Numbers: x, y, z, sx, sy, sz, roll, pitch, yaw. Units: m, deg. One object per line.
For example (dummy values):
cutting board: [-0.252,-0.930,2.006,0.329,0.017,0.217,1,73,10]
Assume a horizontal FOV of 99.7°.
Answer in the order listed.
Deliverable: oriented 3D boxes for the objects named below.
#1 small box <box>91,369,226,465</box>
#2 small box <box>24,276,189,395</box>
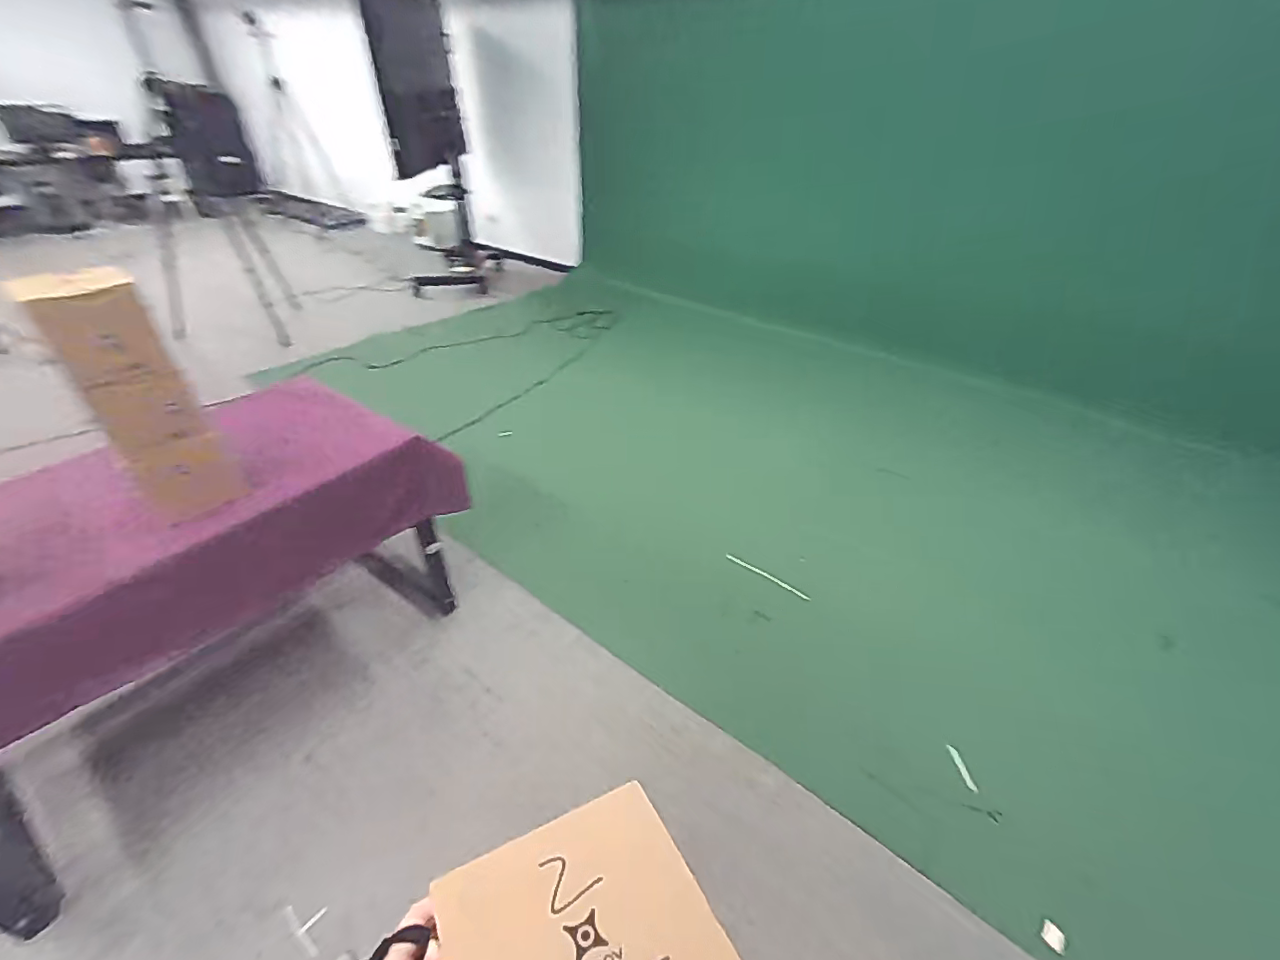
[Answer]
small box: [-1.038,-0.151,1.163,0.179,0.176,0.168,27,43,33]
small box: [-1.040,-0.283,1.066,0.179,0.176,0.168,28,43,31]
